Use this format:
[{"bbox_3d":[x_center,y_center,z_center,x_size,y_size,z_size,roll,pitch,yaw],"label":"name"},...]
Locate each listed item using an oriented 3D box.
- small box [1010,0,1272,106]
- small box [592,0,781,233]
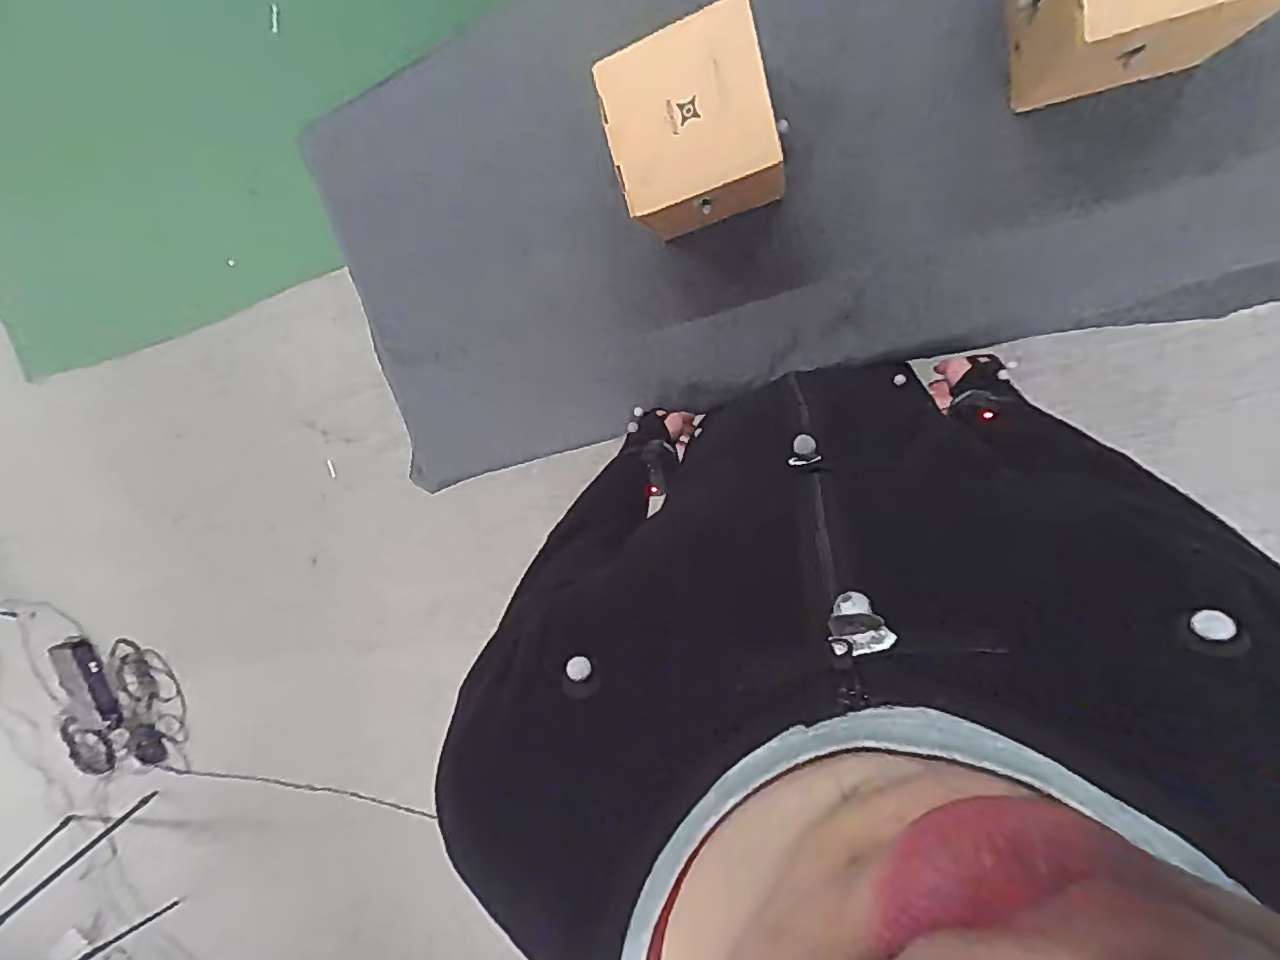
[{"bbox_3d":[0.474,-0.492,0.512,0.179,0.176,0.168,-6,104,18],"label":"small box"},{"bbox_3d":[0.068,-0.418,0.653,0.179,0.176,0.168,-13,103,18],"label":"small box"}]
